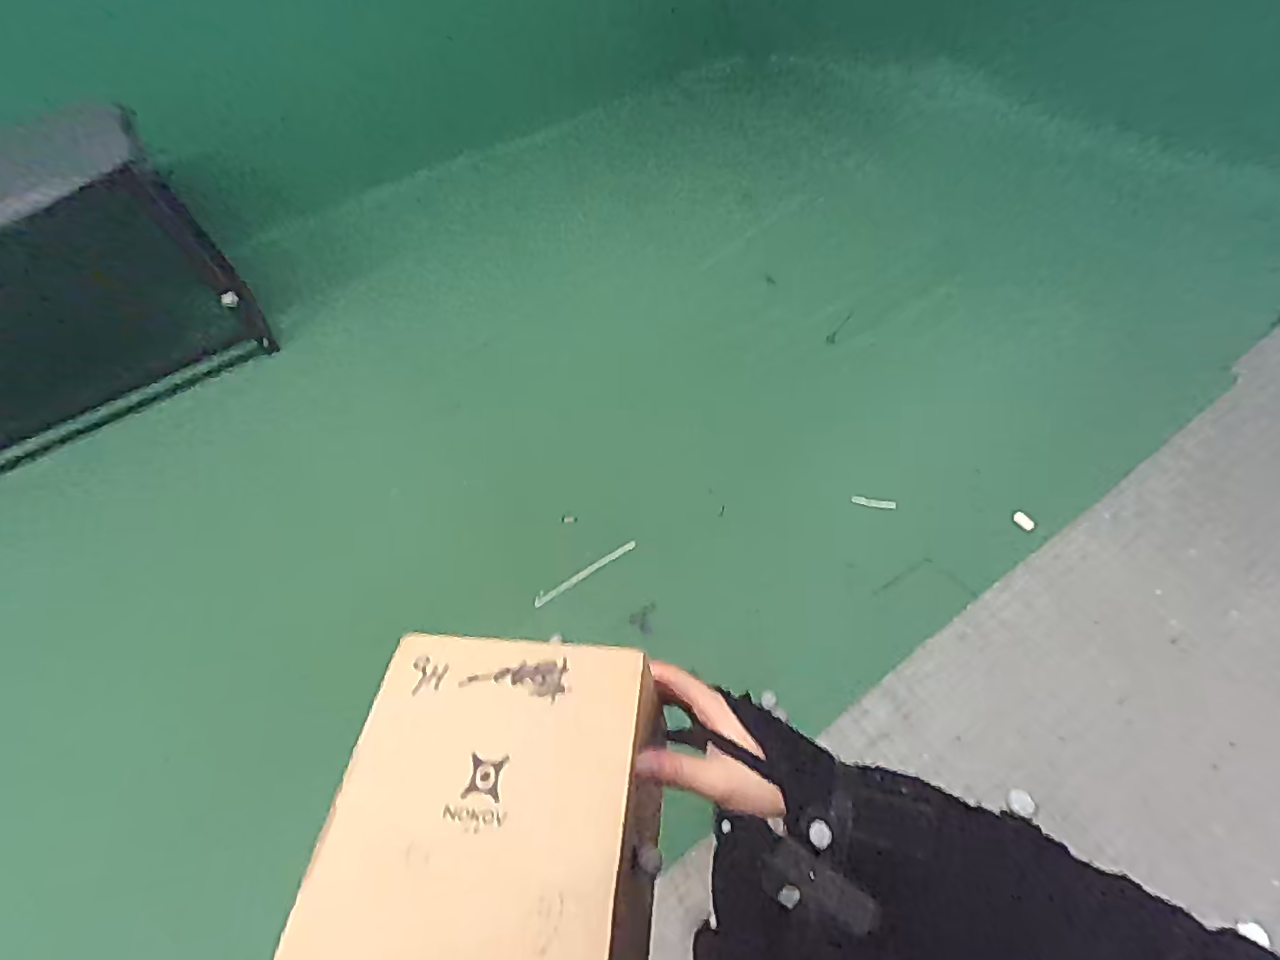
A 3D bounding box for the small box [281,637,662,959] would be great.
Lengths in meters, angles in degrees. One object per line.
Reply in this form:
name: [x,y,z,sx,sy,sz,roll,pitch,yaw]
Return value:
small box: [-0.079,0.224,0.364,0.168,0.176,0.179,1,53,10]
